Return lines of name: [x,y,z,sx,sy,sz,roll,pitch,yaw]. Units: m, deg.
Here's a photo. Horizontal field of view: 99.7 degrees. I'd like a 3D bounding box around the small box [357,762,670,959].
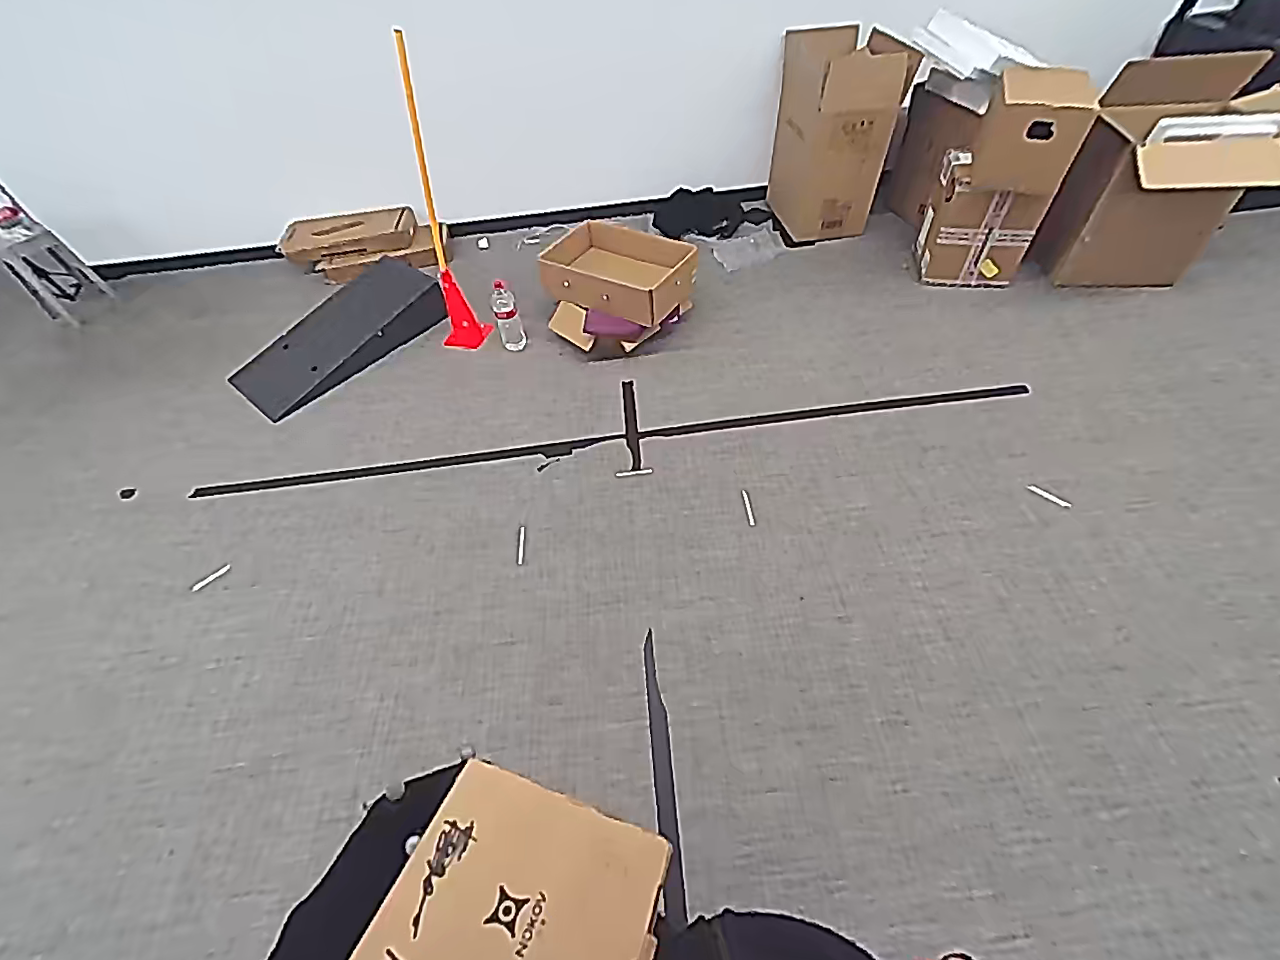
small box: [-0.094,0.363,0.415,0.179,0.176,0.168,18,36,9]
